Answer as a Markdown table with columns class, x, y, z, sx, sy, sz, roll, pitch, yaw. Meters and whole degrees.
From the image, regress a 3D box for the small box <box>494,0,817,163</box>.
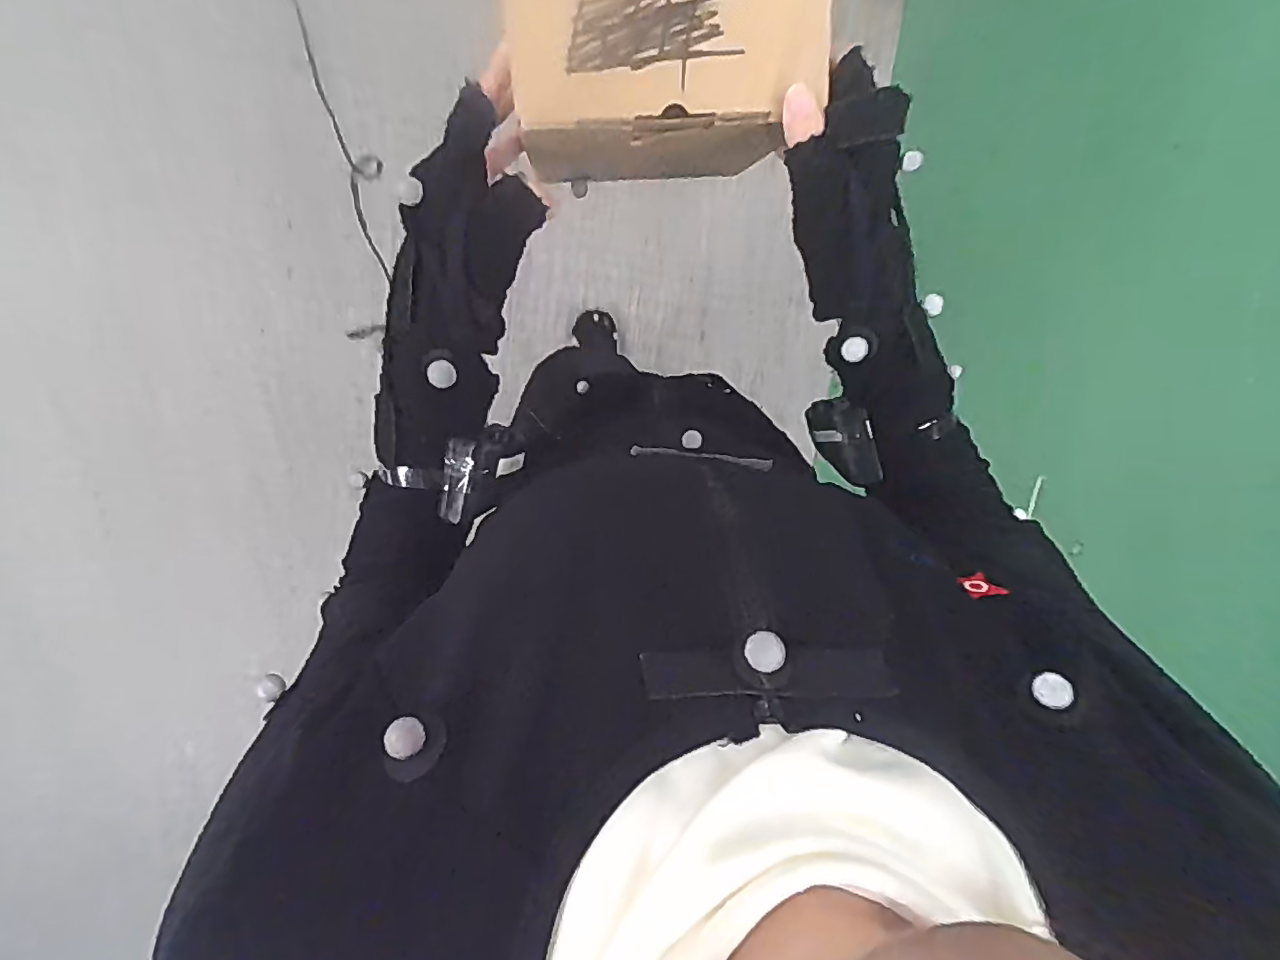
| class | x | y | z | sx | sy | sz | roll | pitch | yaw |
| --- | --- | --- | --- | --- | --- | --- | --- | --- | --- |
| small box | 0.000 | -0.306 | 0.331 | 0.168 | 0.176 | 0.179 | -5 | 109 | -5 |
